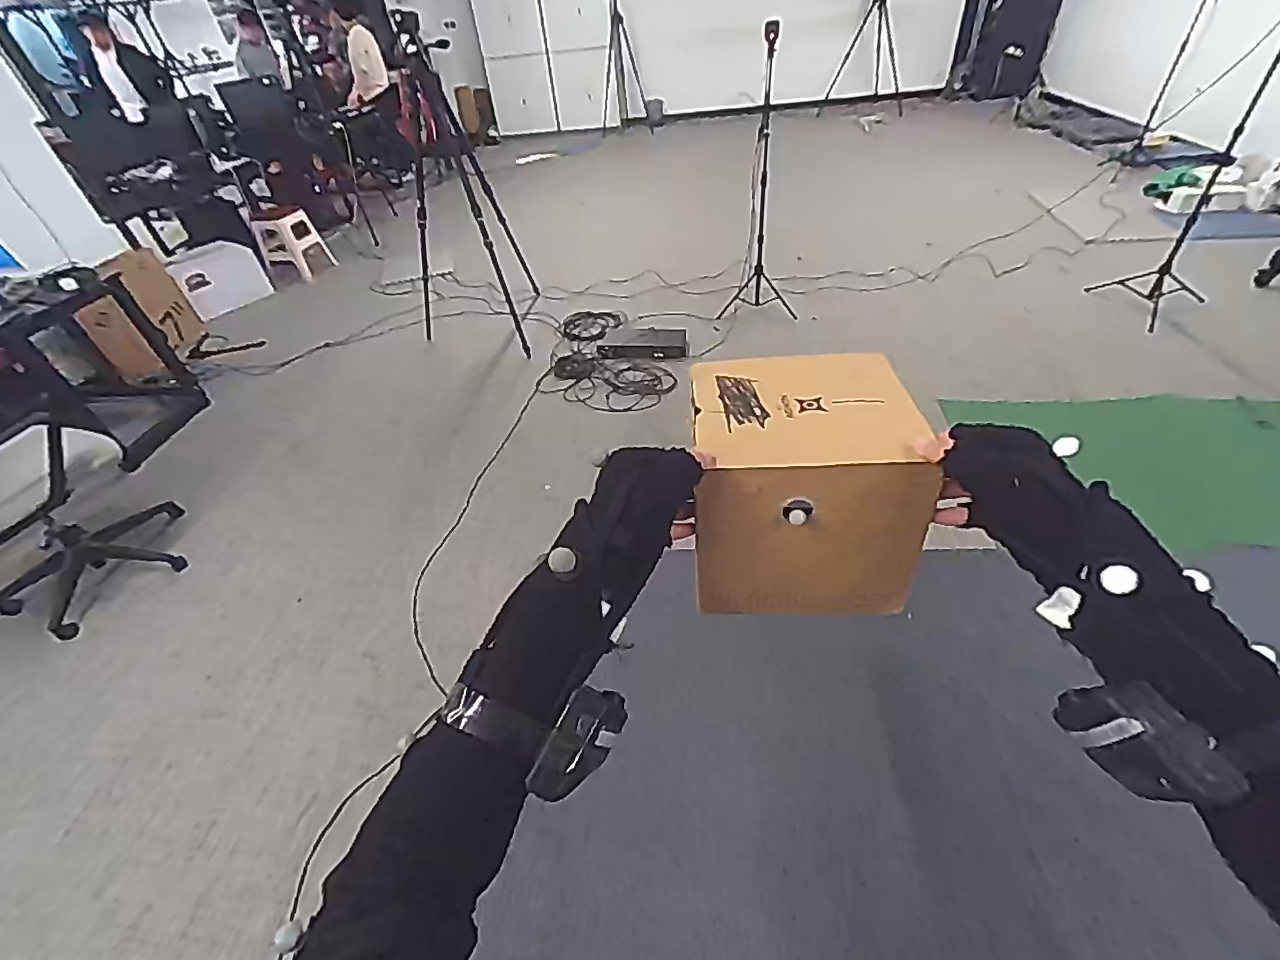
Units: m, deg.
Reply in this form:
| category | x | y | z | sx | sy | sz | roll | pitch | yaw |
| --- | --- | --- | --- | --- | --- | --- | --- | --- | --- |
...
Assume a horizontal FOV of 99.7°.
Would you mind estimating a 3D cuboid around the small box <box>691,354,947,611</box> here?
| category | x | y | z | sx | sy | sz | roll | pitch | yaw |
| --- | --- | --- | --- | --- | --- | --- | --- | --- | --- |
| small box | 0.138 | 0.003 | 0.486 | 0.179 | 0.176 | 0.168 | -2 | 39 | 6 |
